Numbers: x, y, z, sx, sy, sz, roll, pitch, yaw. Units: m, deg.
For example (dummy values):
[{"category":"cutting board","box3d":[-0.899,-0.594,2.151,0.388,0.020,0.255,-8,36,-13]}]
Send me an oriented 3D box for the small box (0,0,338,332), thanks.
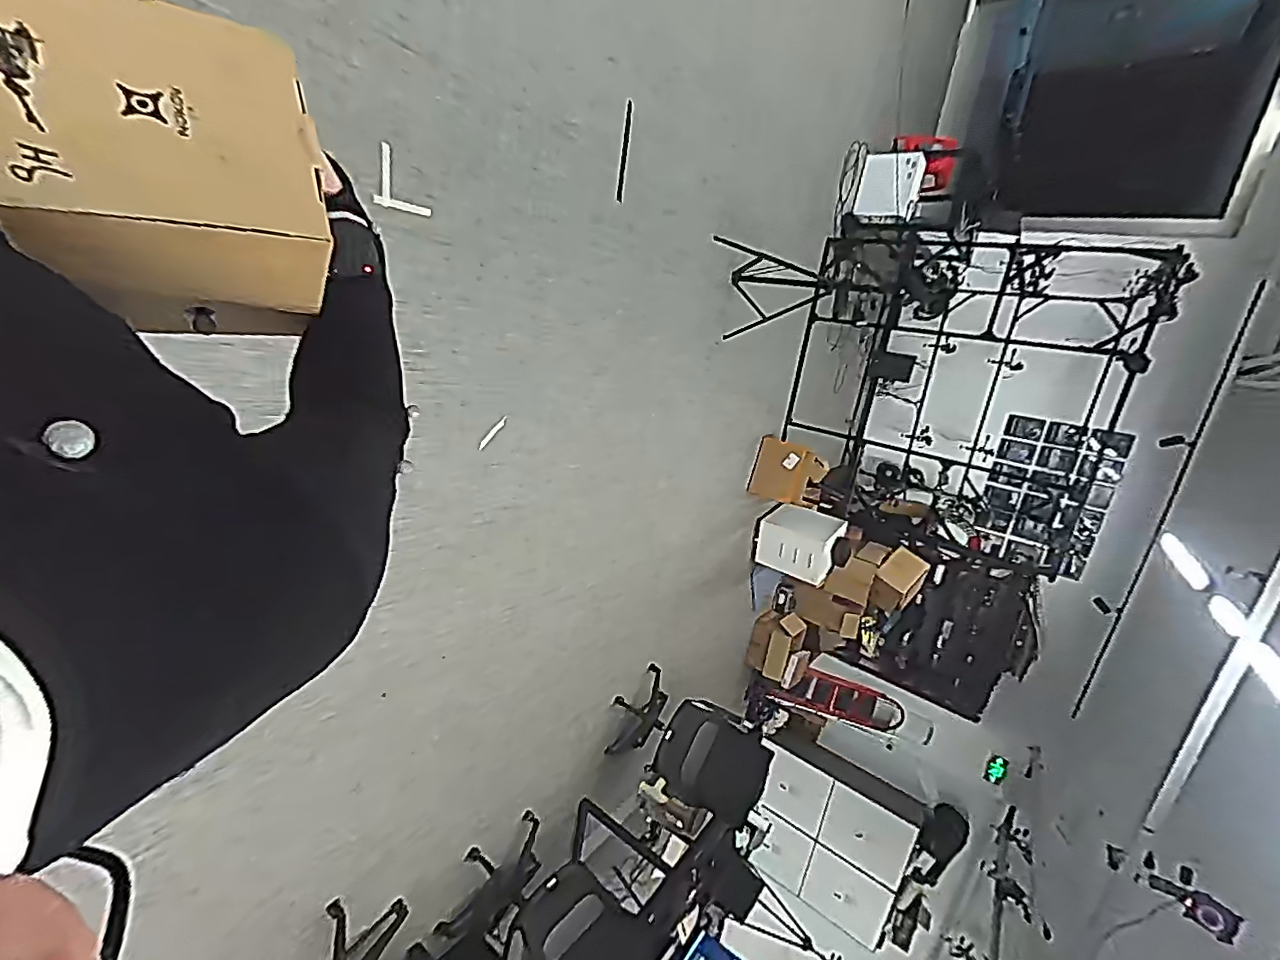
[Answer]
[{"category":"small box","box3d":[-0.367,-0.233,0.439,0.179,0.176,0.168,-10,83,-37]}]
